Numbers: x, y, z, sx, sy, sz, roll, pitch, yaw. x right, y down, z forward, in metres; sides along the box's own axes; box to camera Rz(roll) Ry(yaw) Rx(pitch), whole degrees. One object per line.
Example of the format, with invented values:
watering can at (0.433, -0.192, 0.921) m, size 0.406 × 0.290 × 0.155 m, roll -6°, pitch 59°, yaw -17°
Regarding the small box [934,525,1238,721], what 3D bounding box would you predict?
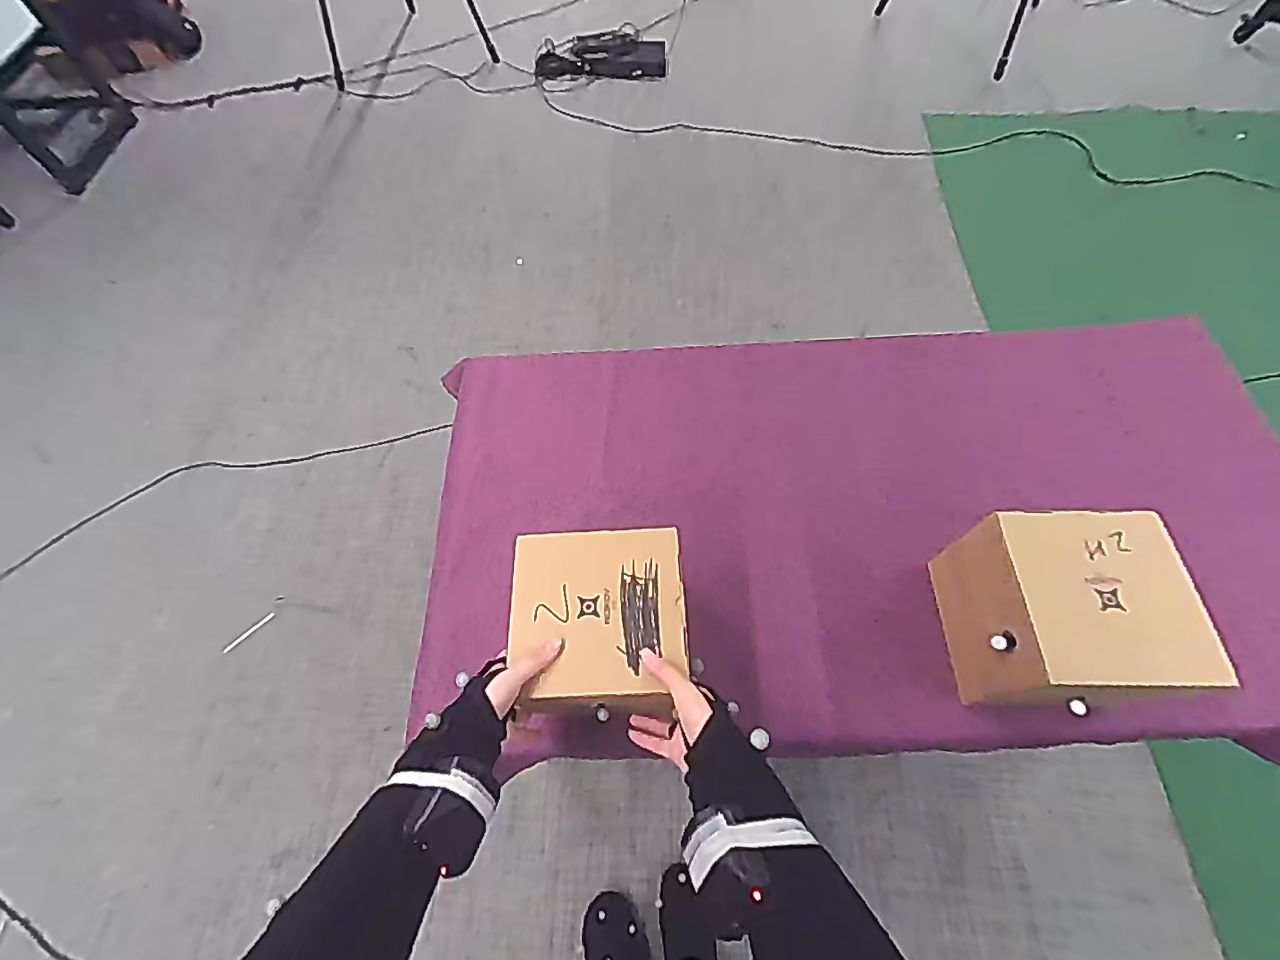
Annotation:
small box at (0.456, 0.163, 0.593) m, size 0.168 × 0.176 × 0.179 m, roll 1°, pitch 60°, yaw 2°
